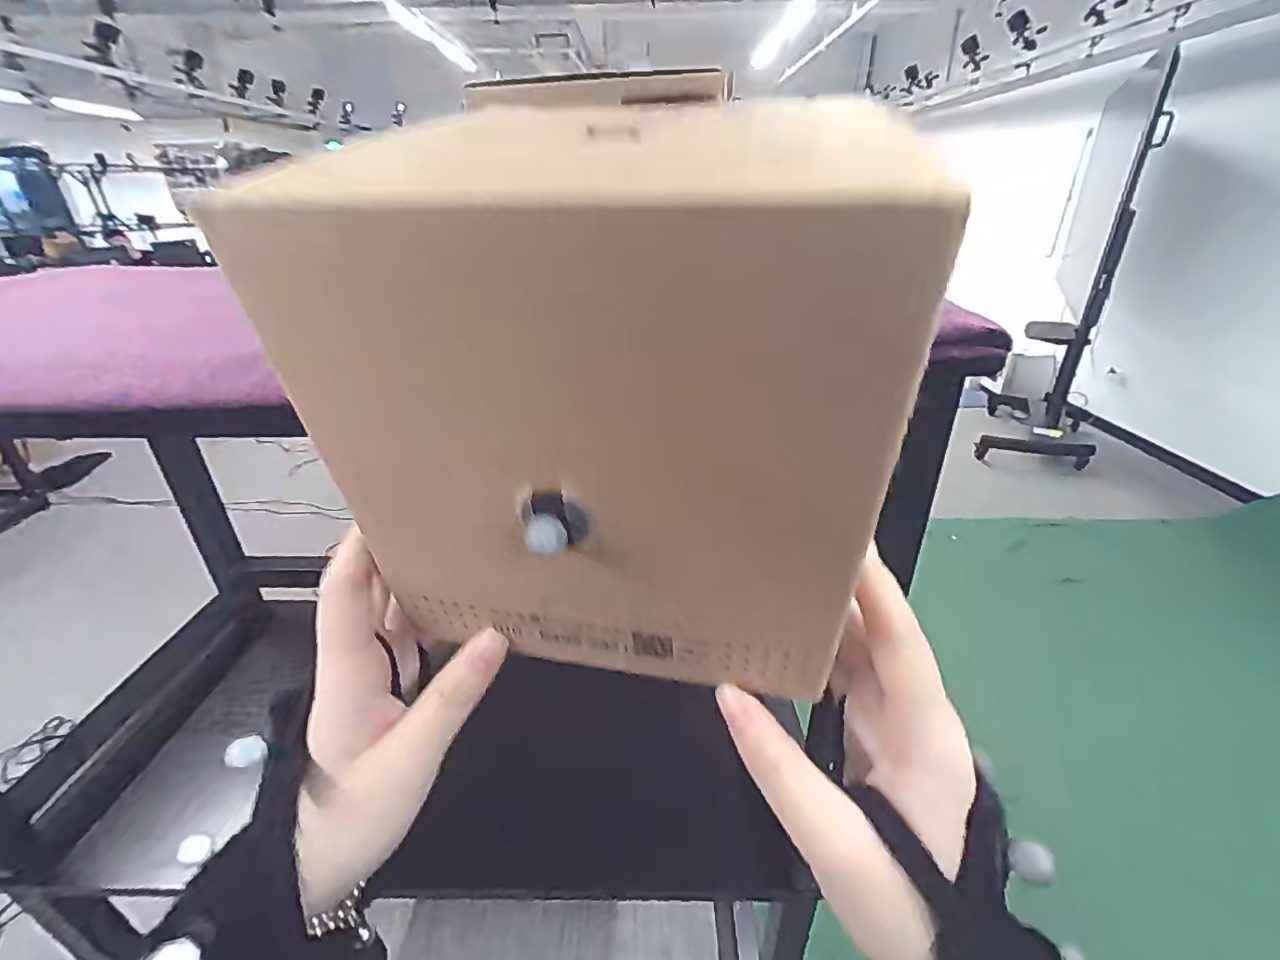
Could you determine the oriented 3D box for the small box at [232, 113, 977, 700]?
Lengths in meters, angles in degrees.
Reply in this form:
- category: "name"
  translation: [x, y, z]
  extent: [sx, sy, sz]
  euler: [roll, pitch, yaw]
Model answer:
- category: "small box"
  translation: [0.004, -0.038, 0.224]
  extent: [0.168, 0.176, 0.179]
  euler: [6, 40, 11]
